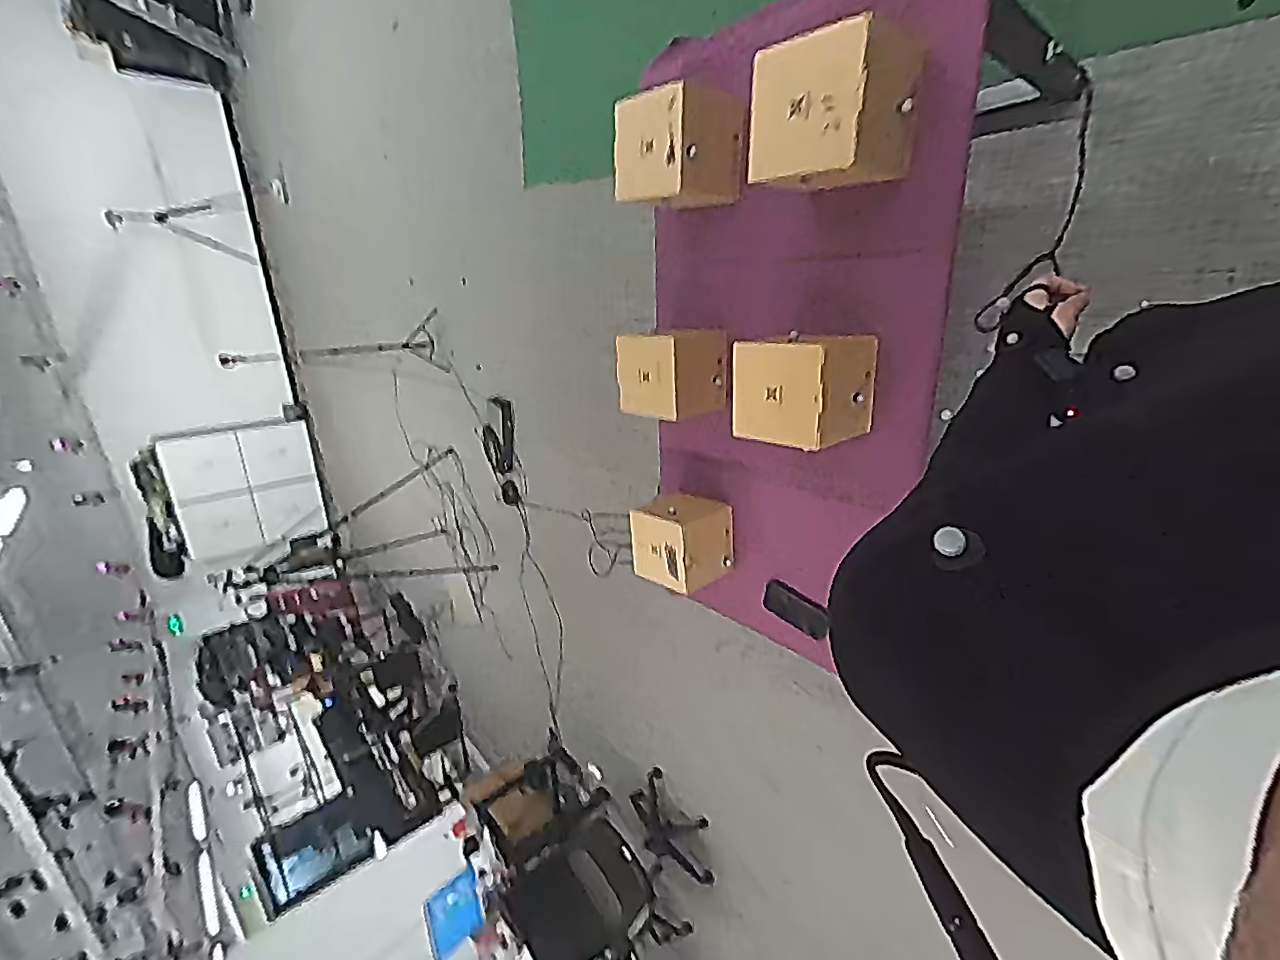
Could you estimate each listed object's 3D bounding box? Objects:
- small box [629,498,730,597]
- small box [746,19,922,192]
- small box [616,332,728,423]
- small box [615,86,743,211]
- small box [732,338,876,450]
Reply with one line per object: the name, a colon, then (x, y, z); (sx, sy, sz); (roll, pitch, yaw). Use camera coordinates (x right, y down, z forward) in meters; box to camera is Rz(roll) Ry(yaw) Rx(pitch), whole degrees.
small box: (0.097, 0.148, 1.266); (0.179, 0.176, 0.168); (13, 113, 47)
small box: (0.281, -0.531, 0.797); (0.179, 0.176, 0.168); (21, 120, 44)
small box: (0.068, -0.227, 1.167); (0.179, 0.176, 0.168); (17, 116, 45)
small box: (0.070, -0.611, 1.021); (0.179, 0.176, 0.168); (21, 120, 44)
small box: (0.281, -0.157, 0.941); (0.179, 0.176, 0.168); (16, 115, 46)
